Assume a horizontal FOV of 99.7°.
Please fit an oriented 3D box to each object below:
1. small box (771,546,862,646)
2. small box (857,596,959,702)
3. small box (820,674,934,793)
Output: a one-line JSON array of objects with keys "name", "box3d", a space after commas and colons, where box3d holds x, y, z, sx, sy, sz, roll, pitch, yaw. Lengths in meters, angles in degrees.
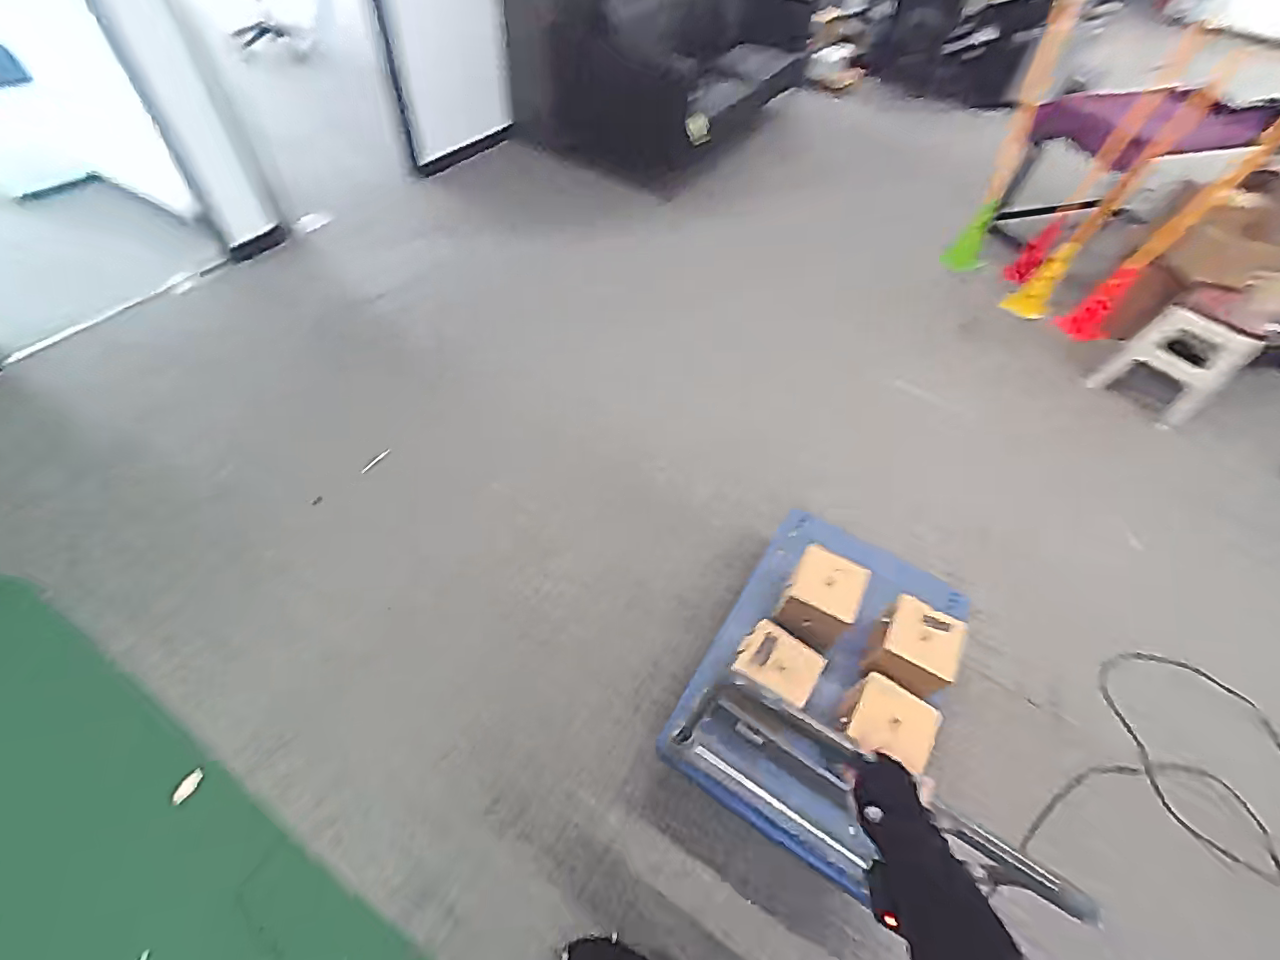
[{"name": "small box", "box3d": [0.471, 0.318, 1.464, 0.168, 0.176, 0.179, 27, 55, 13]}, {"name": "small box", "box3d": [0.685, 0.438, 1.395, 0.168, 0.176, 0.179, 28, 56, 16]}, {"name": "small box", "box3d": [0.545, 0.595, 1.262, 0.168, 0.176, 0.179, 31, 57, 17]}]
